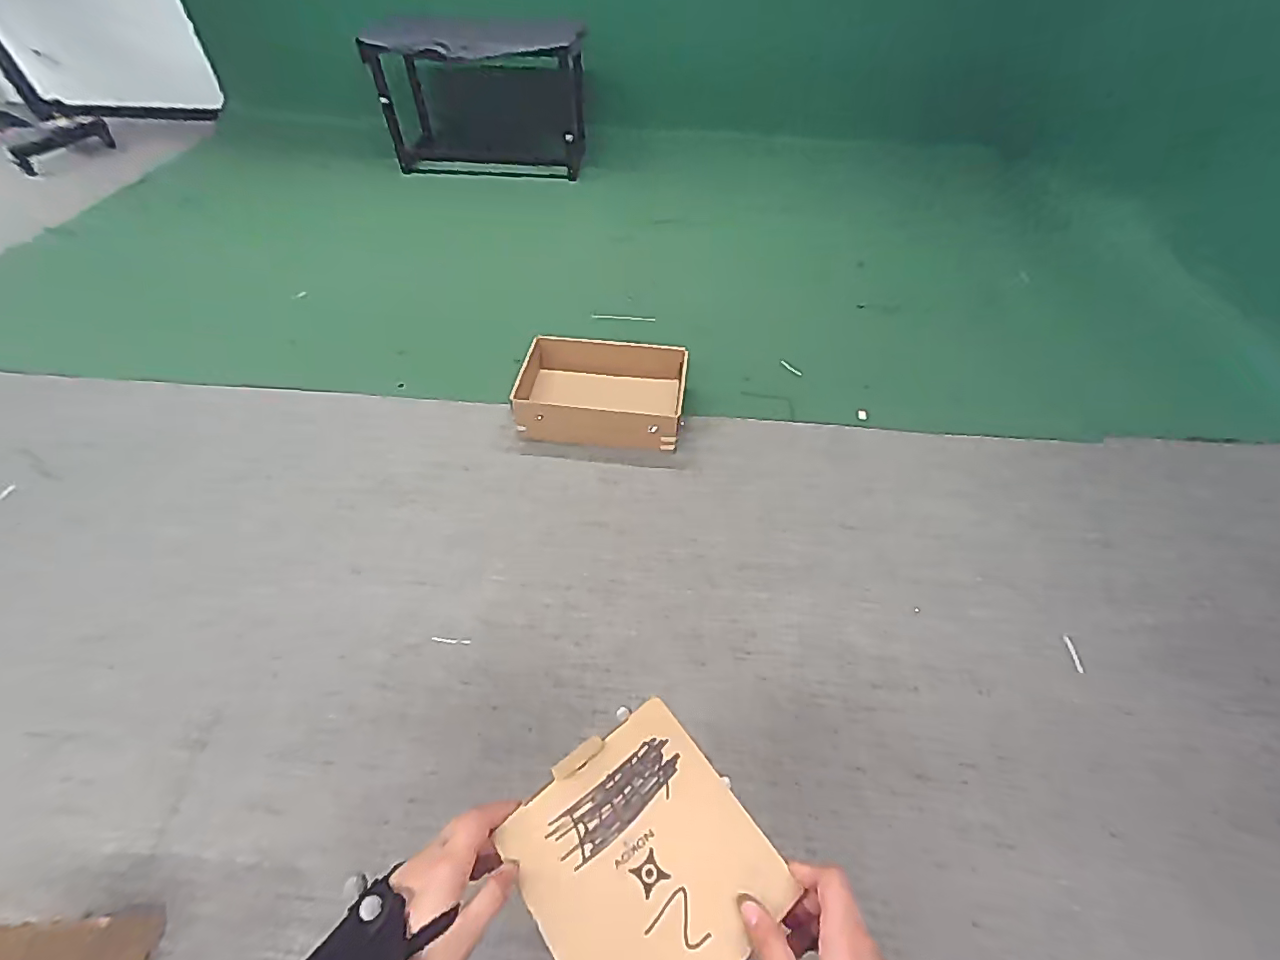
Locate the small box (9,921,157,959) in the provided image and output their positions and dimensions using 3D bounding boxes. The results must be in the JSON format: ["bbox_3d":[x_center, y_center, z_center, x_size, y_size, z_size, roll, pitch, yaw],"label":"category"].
[{"bbox_3d":[-1.074,0.933,1.009,0.179,0.176,0.168,-2,49,-2],"label":"small box"}]
